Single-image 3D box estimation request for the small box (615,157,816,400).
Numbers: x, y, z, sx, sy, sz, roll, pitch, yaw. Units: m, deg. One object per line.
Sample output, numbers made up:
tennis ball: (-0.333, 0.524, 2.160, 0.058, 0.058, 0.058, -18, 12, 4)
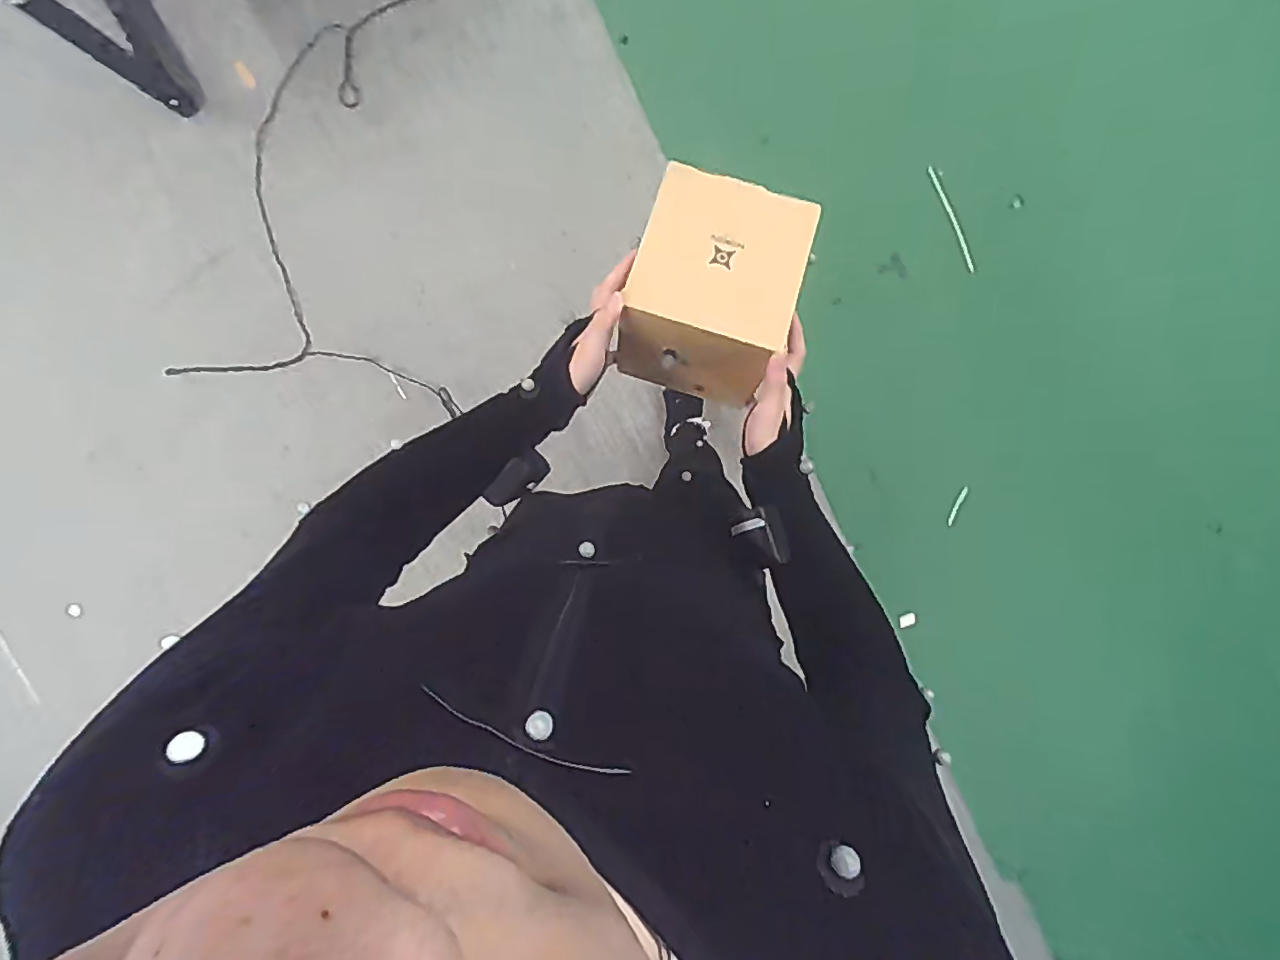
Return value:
small box: (0.075, -0.212, 0.613, 0.168, 0.176, 0.179, 17, 78, 0)
